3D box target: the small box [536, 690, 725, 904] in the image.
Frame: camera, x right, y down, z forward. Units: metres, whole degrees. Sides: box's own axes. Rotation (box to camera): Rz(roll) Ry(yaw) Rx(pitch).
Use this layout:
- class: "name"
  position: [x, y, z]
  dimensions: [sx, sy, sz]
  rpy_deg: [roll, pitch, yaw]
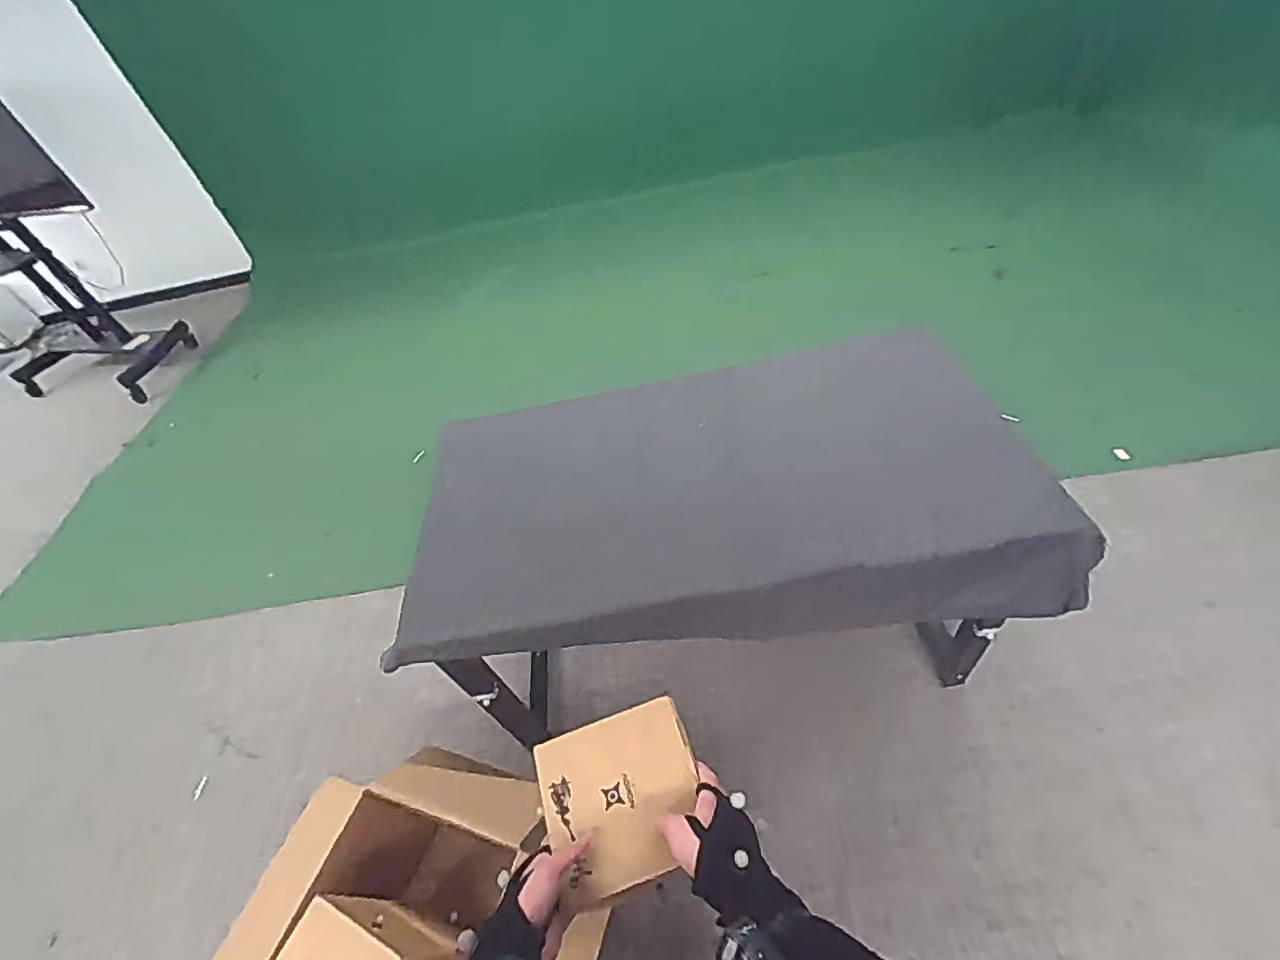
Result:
- class: "small box"
  position: [-0.008, 0.384, 0.656]
  dimensions: [0.179, 0.176, 0.168]
  rpy_deg: [-19, 52, -4]
